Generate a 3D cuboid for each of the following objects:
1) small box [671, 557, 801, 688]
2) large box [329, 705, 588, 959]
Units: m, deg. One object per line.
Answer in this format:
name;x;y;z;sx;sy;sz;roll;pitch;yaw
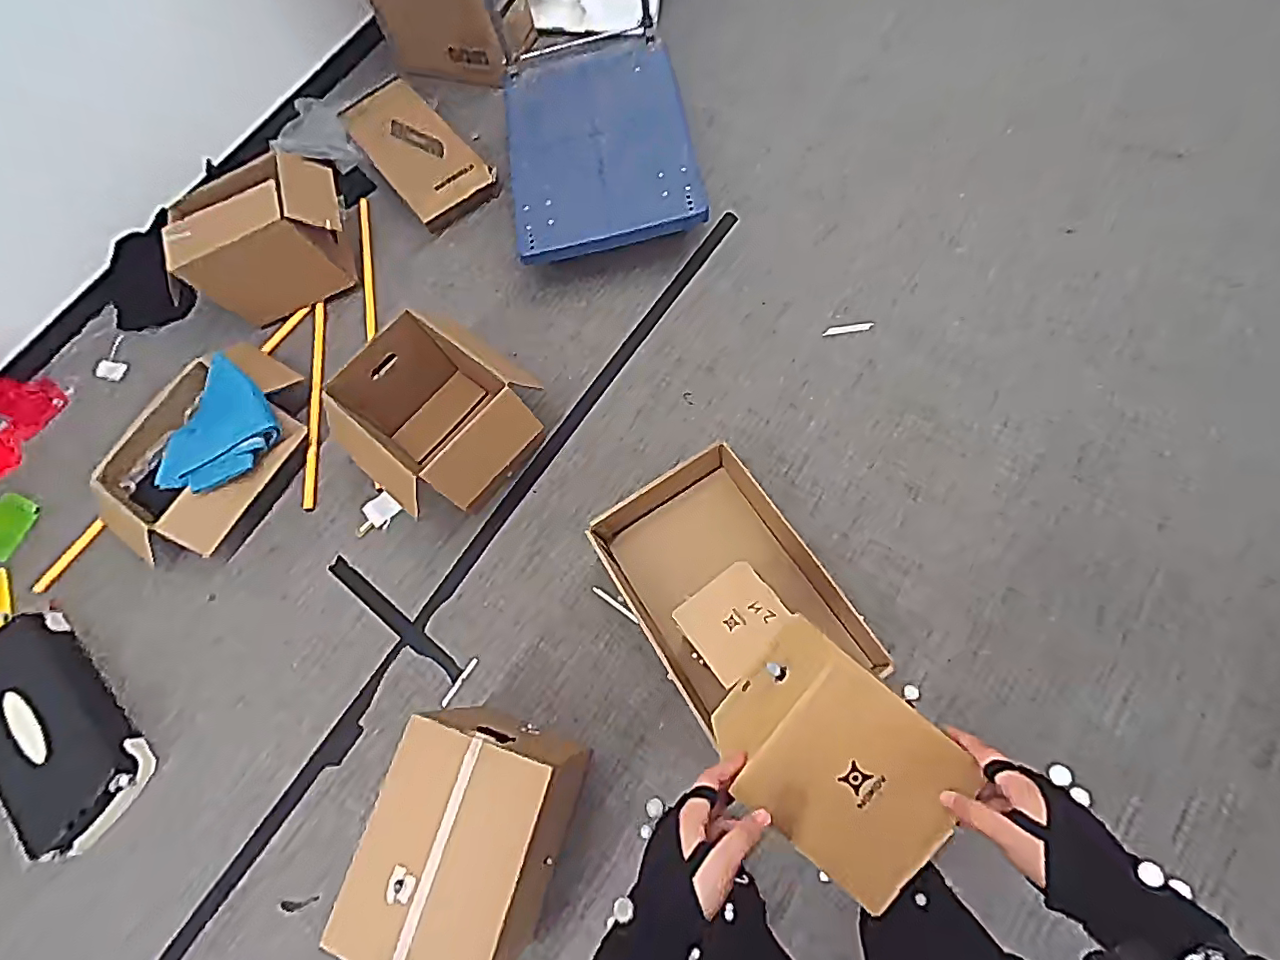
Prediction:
small box;0.183;0.279;1.034;0.179;0.176;0.168;-36;66;-6
large box;-0.335;0.722;1.116;0.320;0.320;0.408;13;74;15
